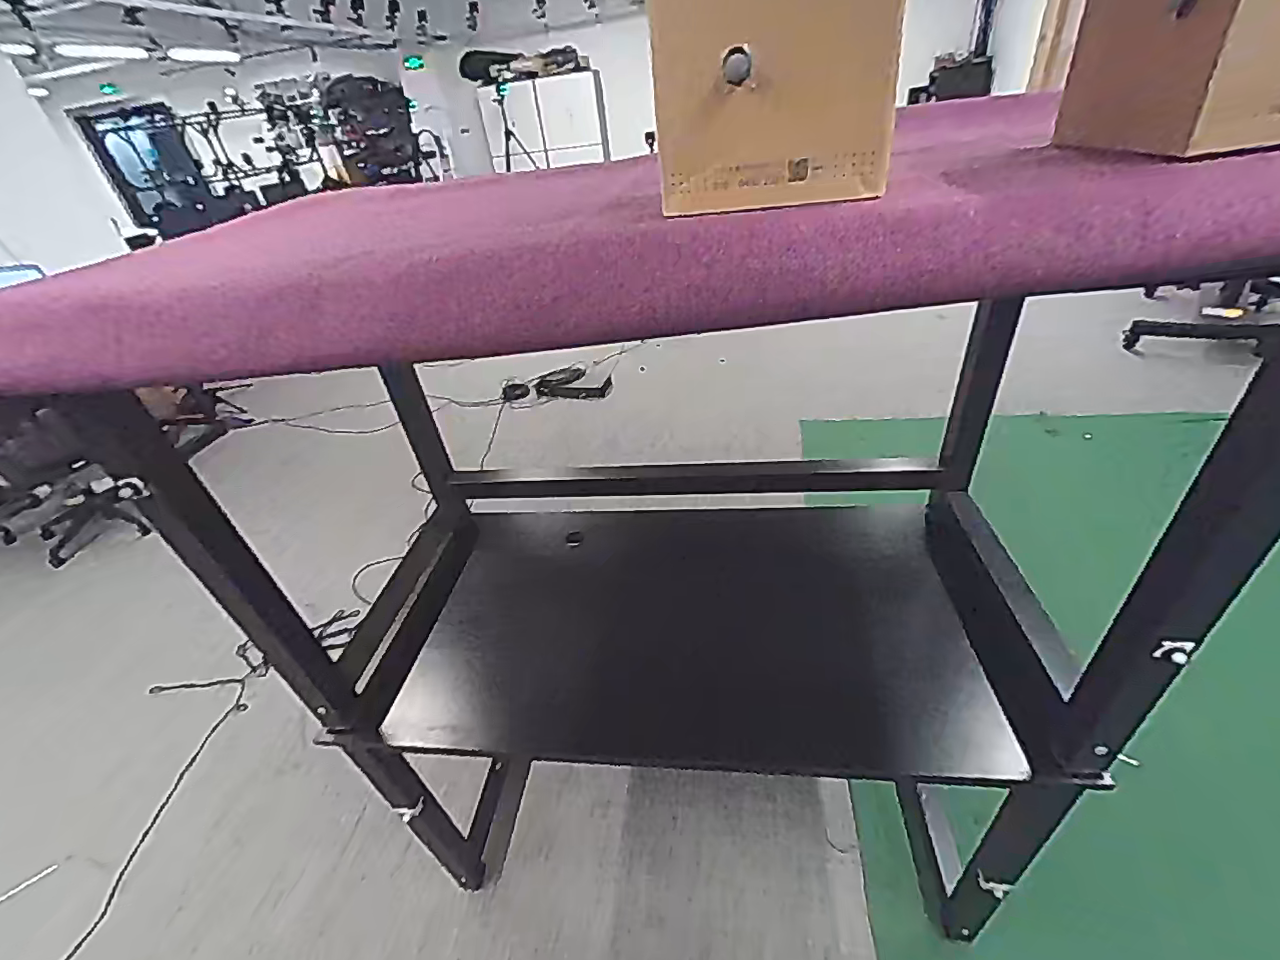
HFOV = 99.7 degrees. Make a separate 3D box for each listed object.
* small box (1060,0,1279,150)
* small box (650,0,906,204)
[{"bbox_3d":[0.449,-0.340,0.381,0.168,0.176,0.179,-2,33,9],"label":"small box"},{"bbox_3d":[0.111,-0.327,0.433,0.168,0.176,0.179,2,35,14],"label":"small box"}]
